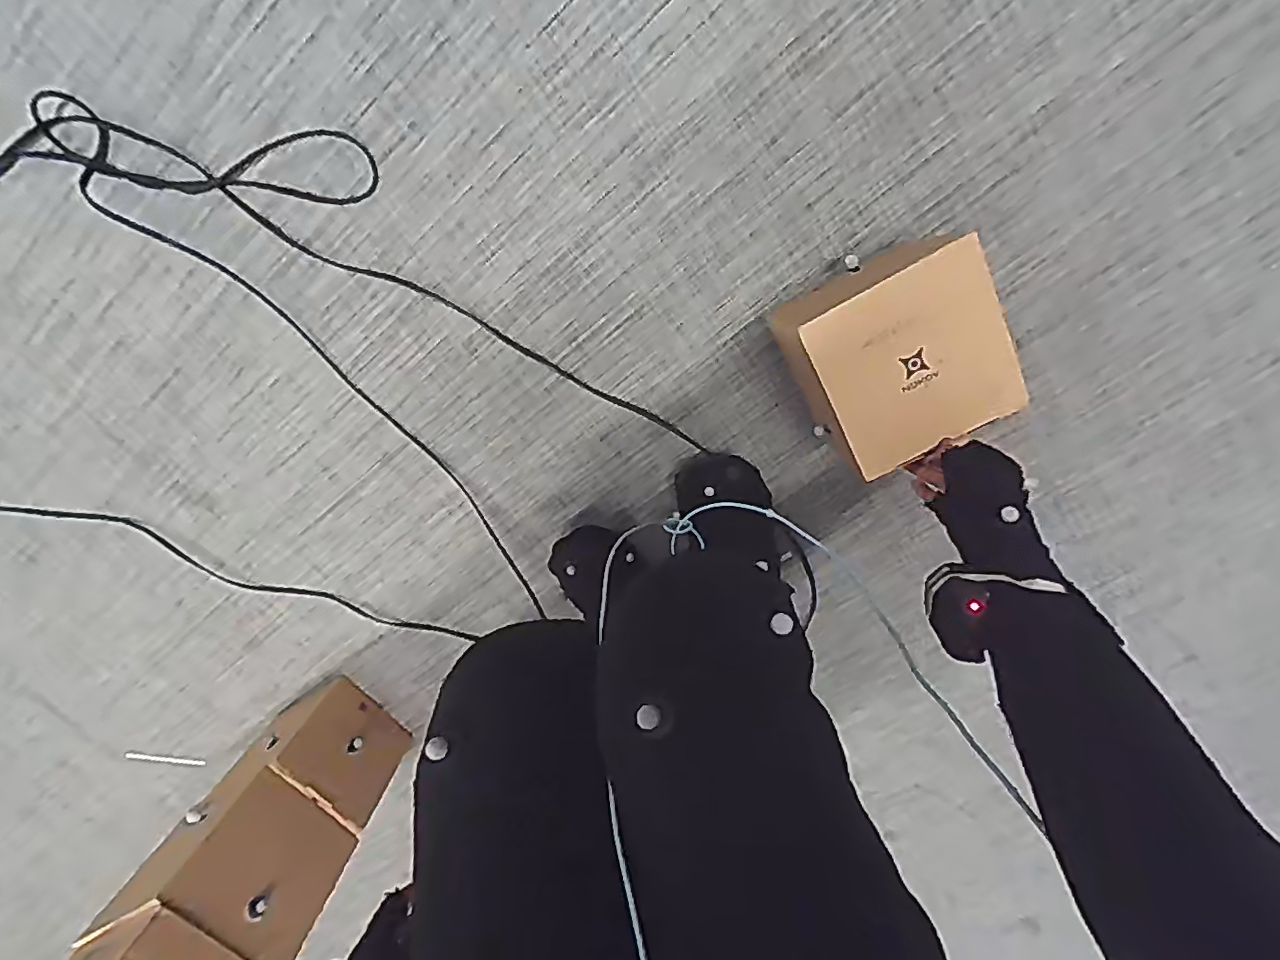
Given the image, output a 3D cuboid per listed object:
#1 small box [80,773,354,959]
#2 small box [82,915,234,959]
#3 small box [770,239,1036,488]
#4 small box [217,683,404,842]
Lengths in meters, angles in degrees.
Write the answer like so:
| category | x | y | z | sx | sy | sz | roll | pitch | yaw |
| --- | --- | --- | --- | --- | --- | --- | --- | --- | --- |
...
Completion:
| category | x | y | z | sx | sy | sz | roll | pitch | yaw |
| --- | --- | --- | --- | --- | --- | --- | --- | --- | --- |
| small box | -0.510 | 0.517 | 0.684 | 0.168 | 0.176 | 0.179 | -33 | 106 | 15 |
| small box | -0.512 | 0.585 | 0.536 | 0.168 | 0.176 | 0.179 | -33 | 106 | 15 |
| small box | 0.254 | -0.125 | 0.559 | 0.168 | 0.176 | 0.179 | -27 | 108 | 12 |
| small box | -0.497 | 0.452 | 0.835 | 0.179 | 0.176 | 0.168 | -33 | 106 | 15 |
